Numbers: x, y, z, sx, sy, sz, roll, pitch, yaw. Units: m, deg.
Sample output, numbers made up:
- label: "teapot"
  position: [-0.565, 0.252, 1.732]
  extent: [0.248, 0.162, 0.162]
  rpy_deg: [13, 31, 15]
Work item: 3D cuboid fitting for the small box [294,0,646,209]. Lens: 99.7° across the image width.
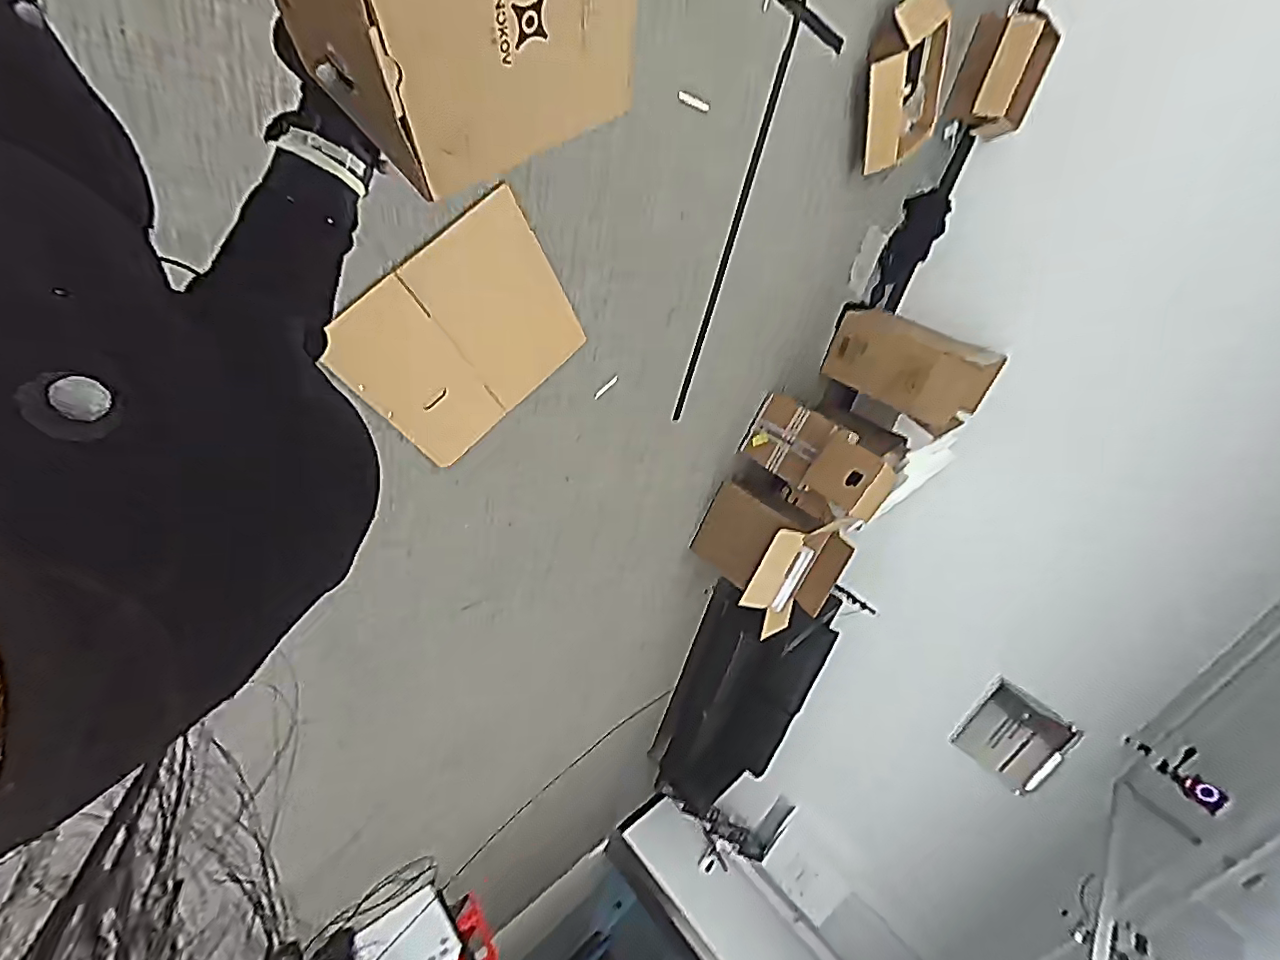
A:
- label: "small box"
  position: [-0.113, -0.319, 0.334]
  extent: [0.179, 0.176, 0.168]
  rpy_deg: [-38, 167, -17]
